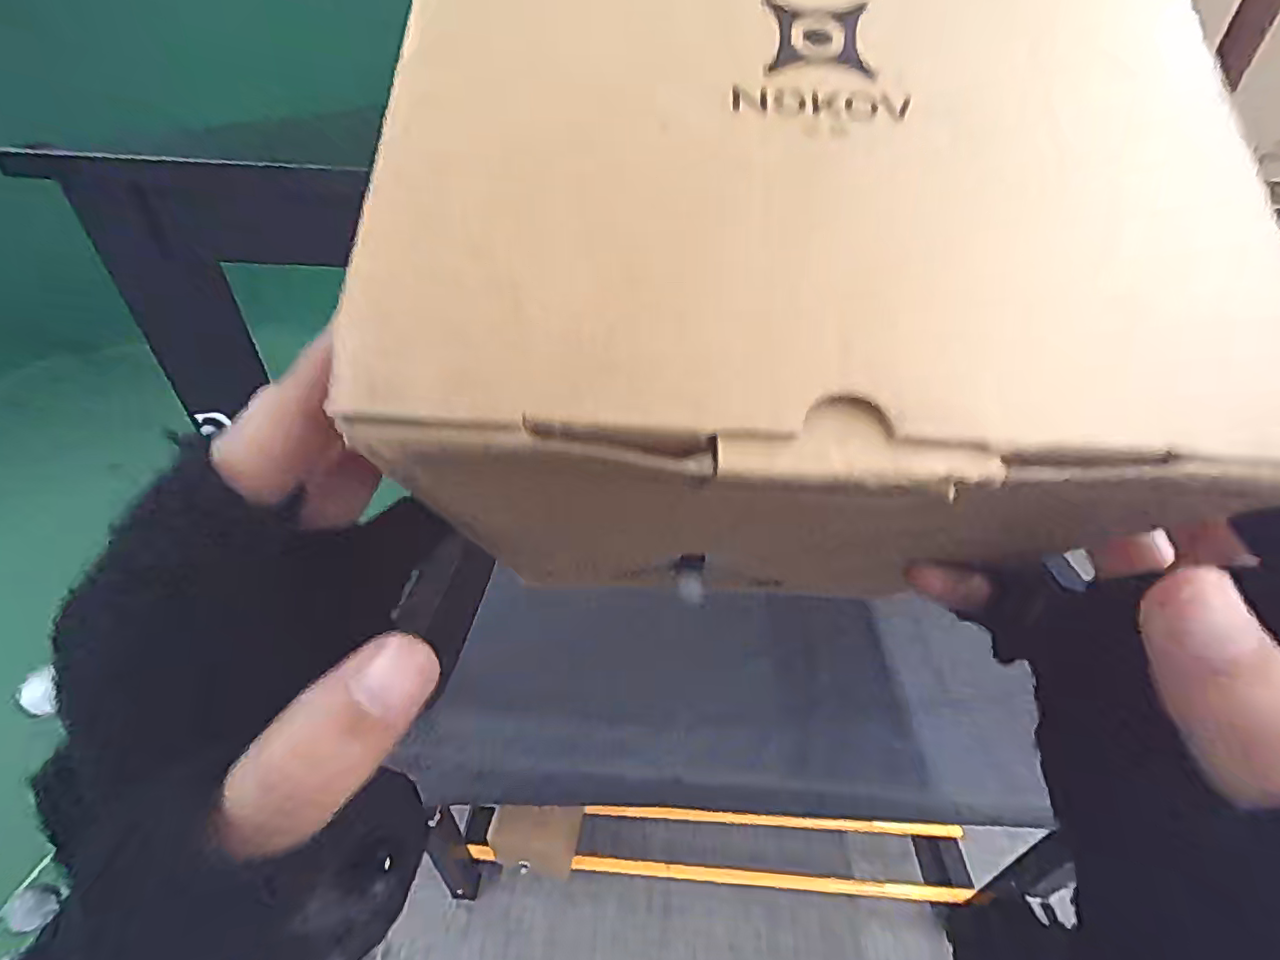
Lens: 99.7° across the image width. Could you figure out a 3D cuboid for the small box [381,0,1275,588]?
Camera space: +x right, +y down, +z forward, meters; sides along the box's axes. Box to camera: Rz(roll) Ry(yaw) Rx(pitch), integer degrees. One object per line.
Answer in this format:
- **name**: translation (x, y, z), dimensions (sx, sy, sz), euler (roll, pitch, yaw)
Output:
- **small box**: translation (0.035, -0.062, 0.199), dimensions (0.168, 0.176, 0.179), euler (2, 72, -1)
